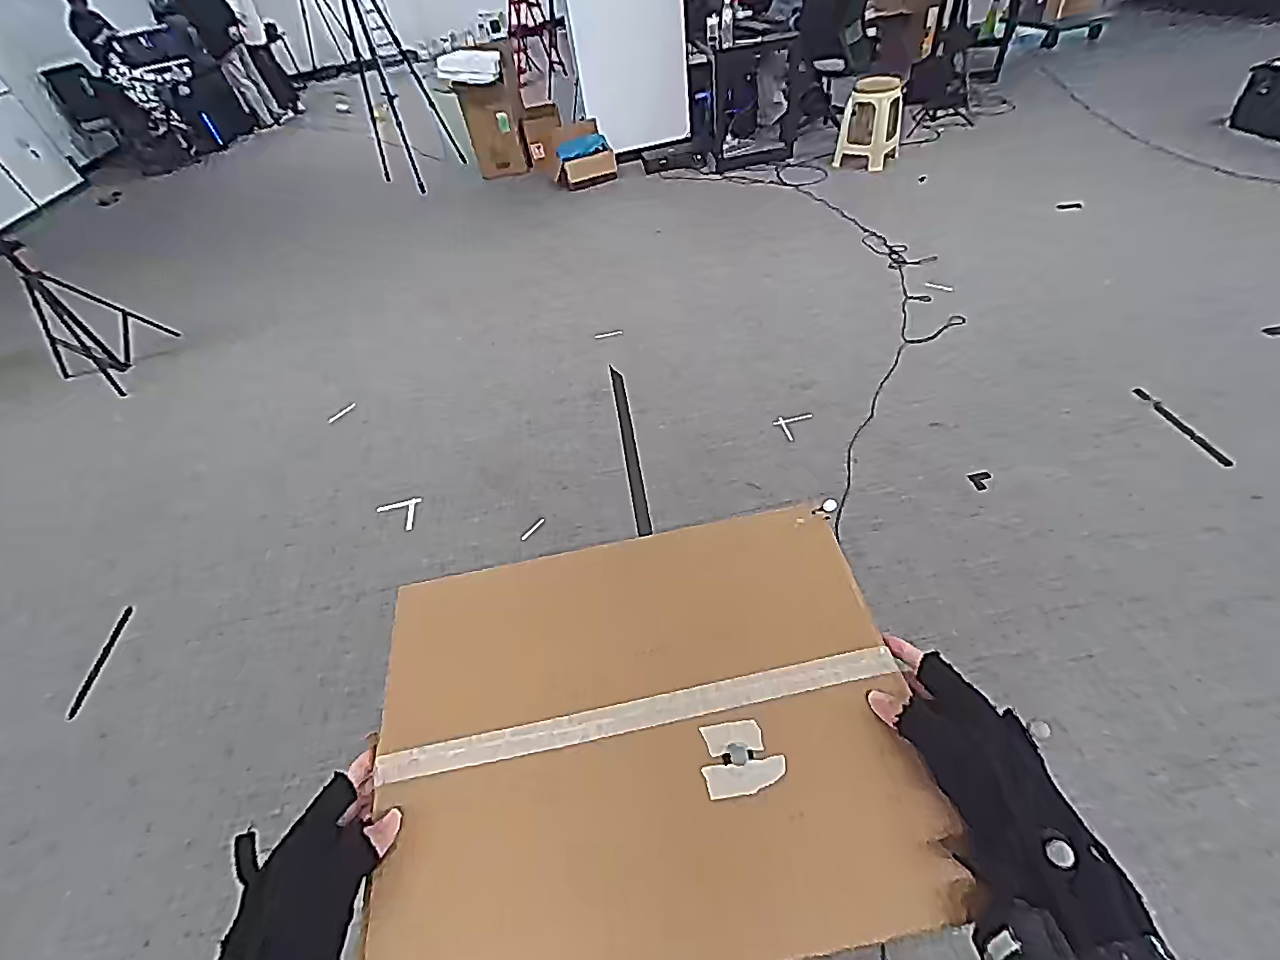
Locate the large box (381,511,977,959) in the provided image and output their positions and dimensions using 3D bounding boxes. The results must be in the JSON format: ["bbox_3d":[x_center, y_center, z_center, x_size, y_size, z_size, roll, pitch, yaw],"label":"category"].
[{"bbox_3d":[0.016,0.278,0.551,0.408,0.320,0.320,-11,53,-1],"label":"large box"}]
